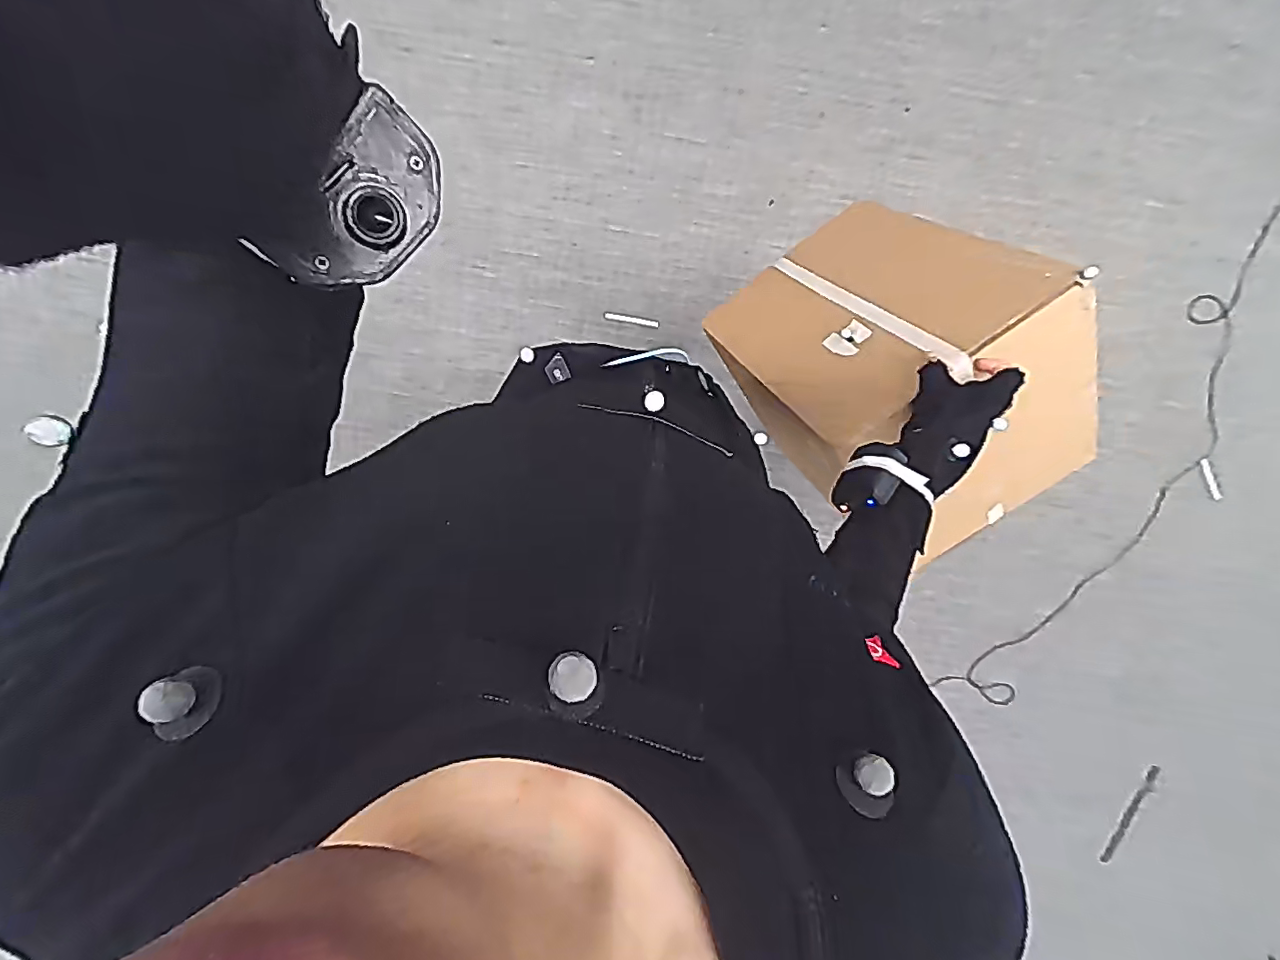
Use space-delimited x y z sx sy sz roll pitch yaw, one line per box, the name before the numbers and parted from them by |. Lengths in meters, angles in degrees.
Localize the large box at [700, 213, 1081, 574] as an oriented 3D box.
large box | 0.354 -0.141 0.827 0.320 0.408 0.320 -36 131 8
